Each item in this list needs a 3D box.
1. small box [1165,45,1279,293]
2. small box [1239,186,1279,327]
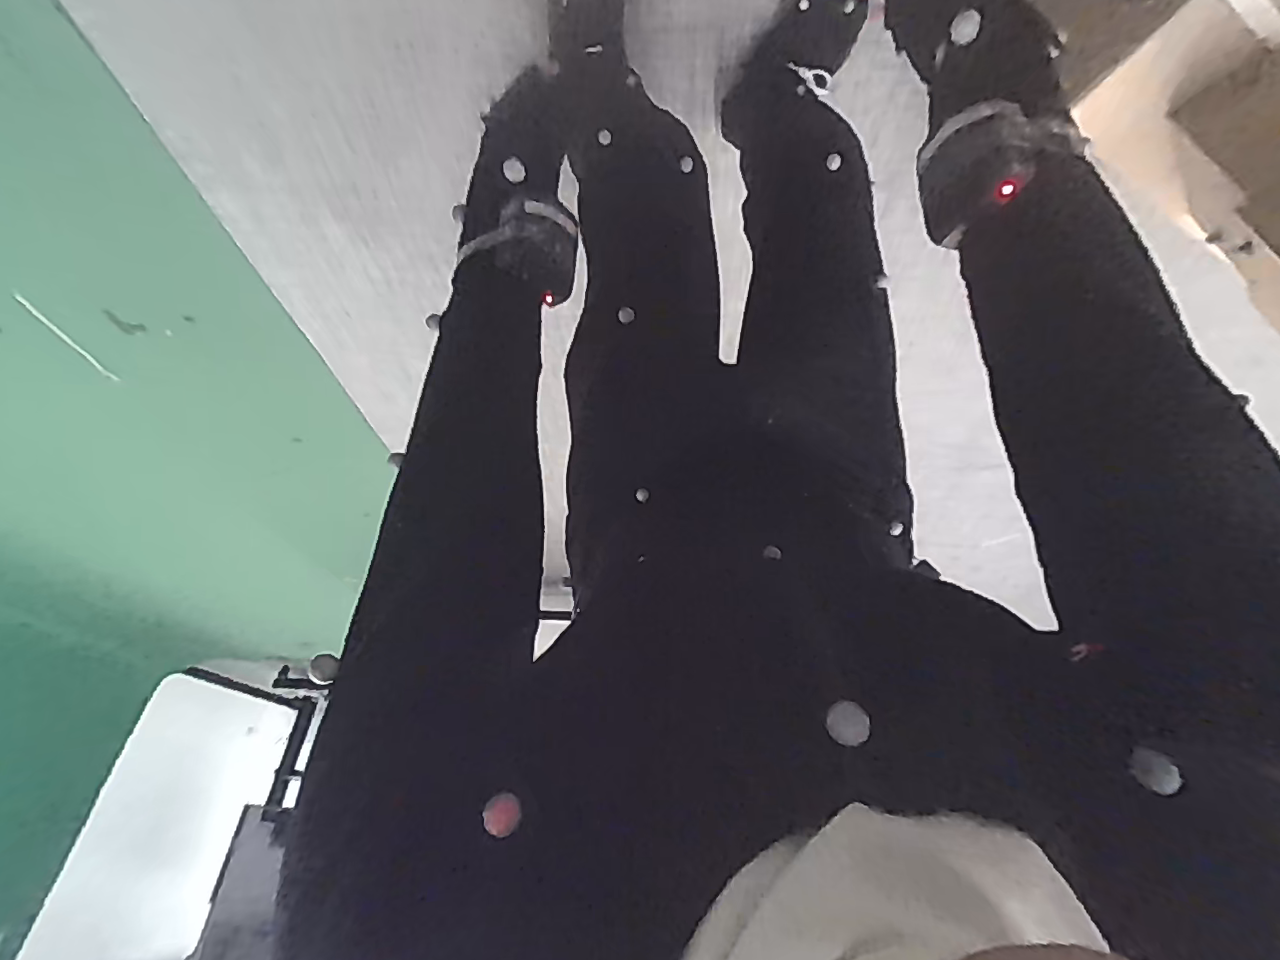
[{"bbox_3d":[0.711,-0.343,0.571,0.179,0.176,0.168,29,139,-32],"label":"small box"},{"bbox_3d":[0.698,-0.204,0.484,0.168,0.176,0.179,25,142,-31],"label":"small box"}]
